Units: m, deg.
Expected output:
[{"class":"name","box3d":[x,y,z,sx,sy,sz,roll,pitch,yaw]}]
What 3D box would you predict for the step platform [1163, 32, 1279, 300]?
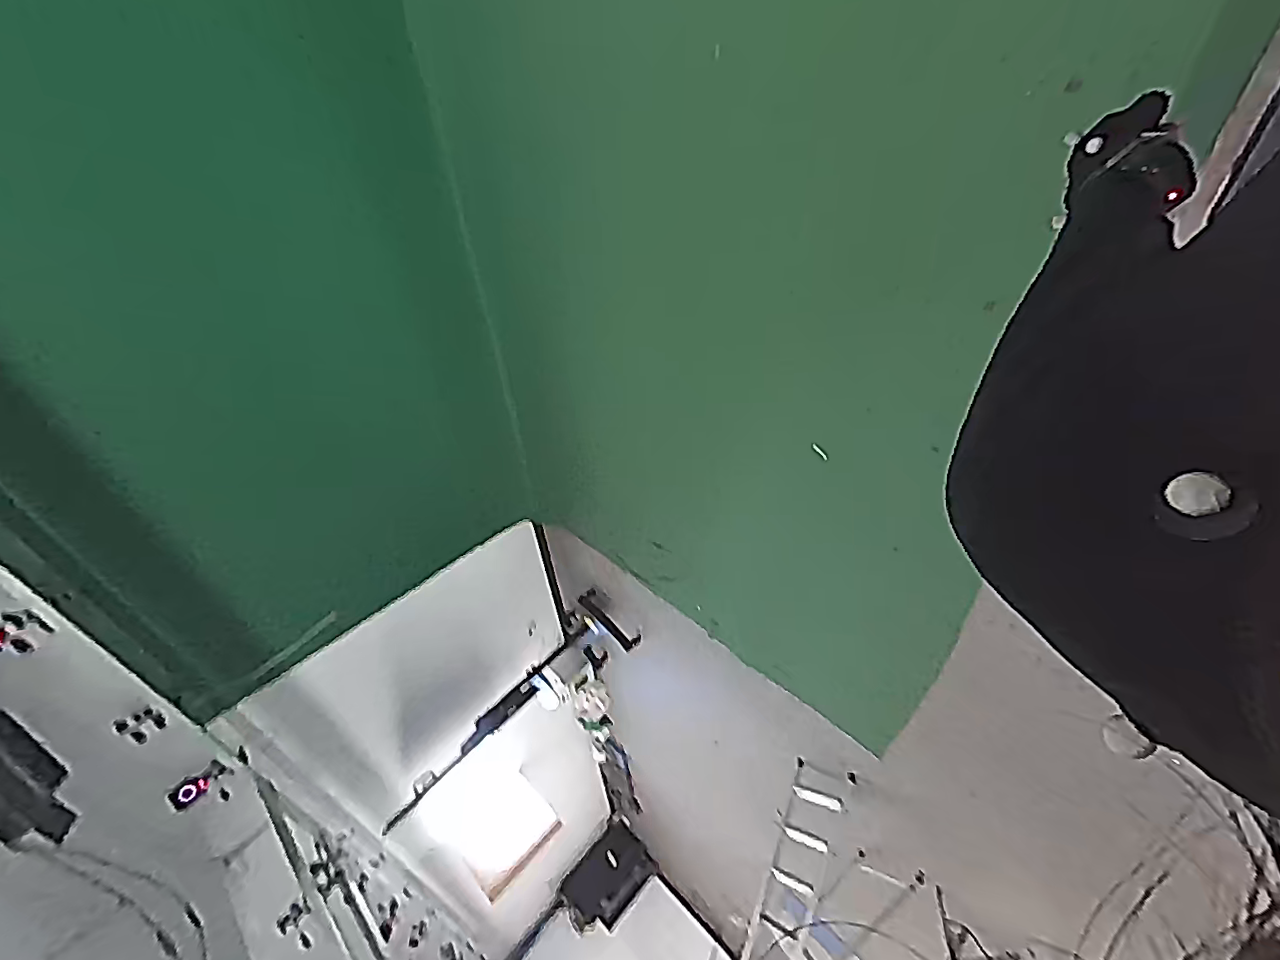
[{"class":"step platform","box3d":[1.037,-0.604,0.709,0.286,0.204,0.684,28,140,34]}]
